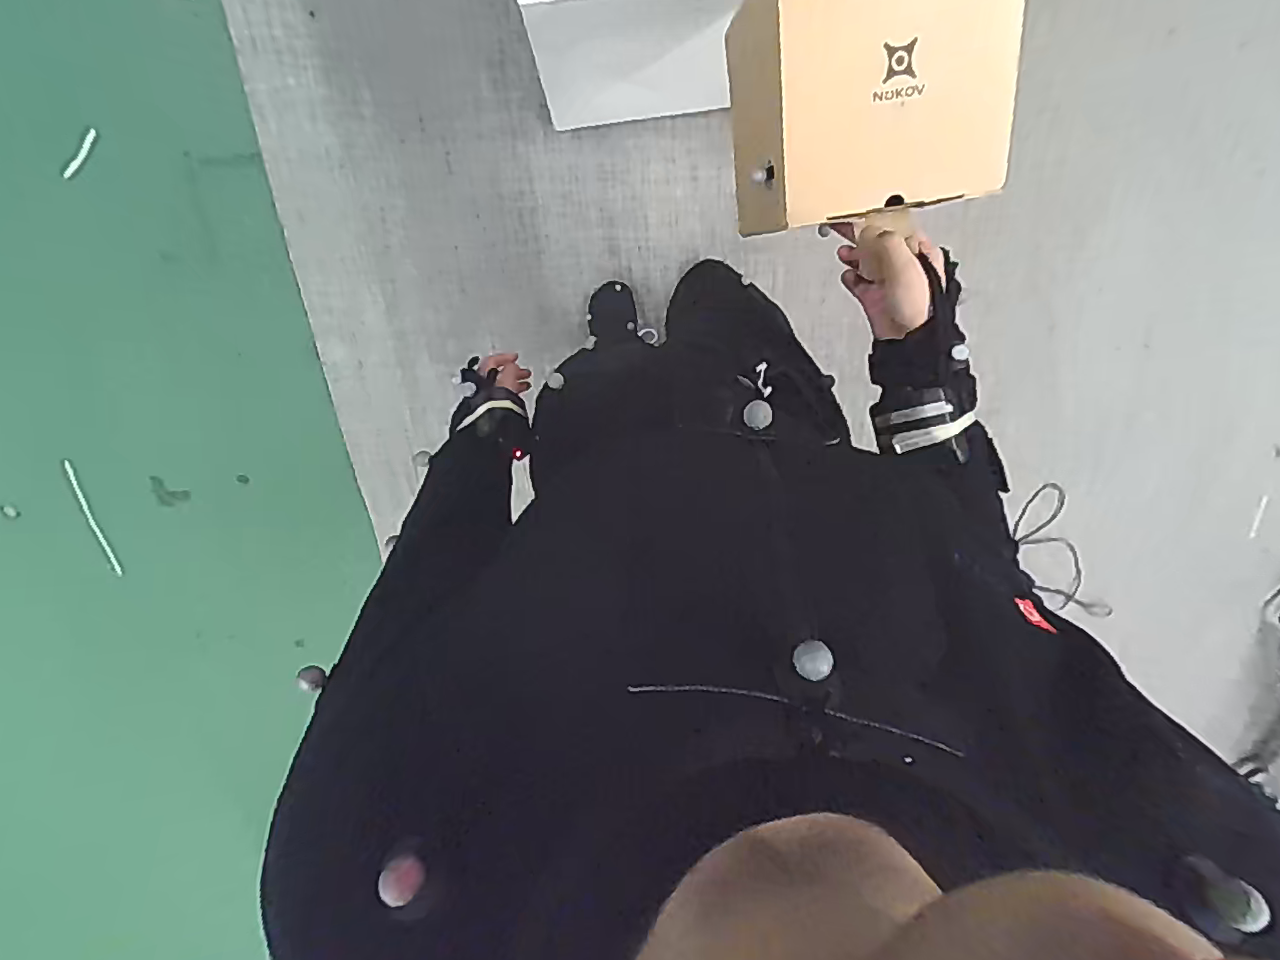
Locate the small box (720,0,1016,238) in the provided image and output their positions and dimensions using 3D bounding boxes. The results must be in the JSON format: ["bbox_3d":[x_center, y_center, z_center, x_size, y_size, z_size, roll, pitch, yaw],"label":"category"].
[{"bbox_3d":[0.168,-0.309,0.444,0.168,0.176,0.179,-10,113,1],"label":"small box"}]
